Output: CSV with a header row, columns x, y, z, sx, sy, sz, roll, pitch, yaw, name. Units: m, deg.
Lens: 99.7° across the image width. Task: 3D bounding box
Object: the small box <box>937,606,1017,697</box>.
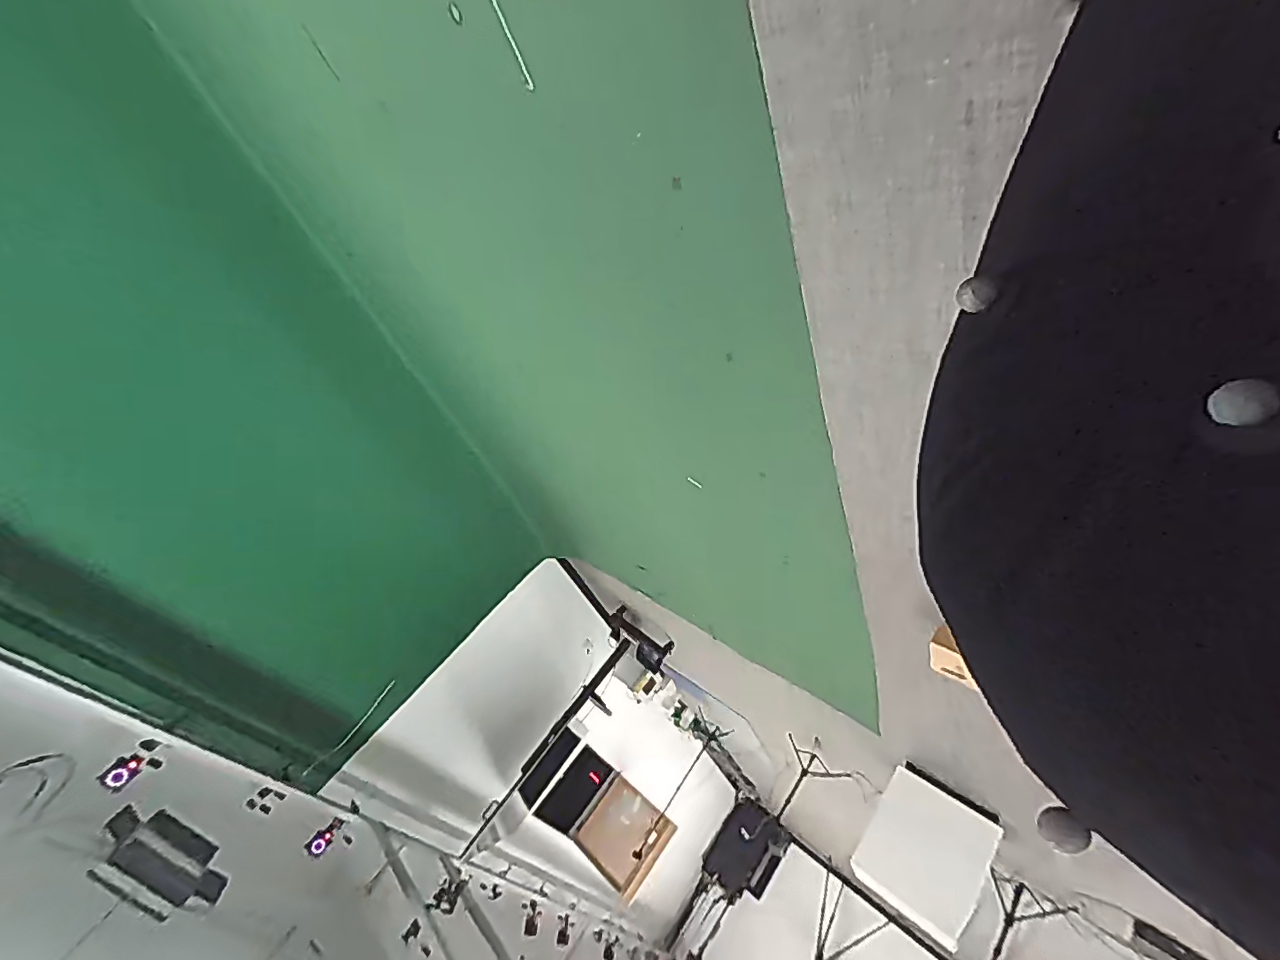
x,y,z,sx,sy,sz,roll,pitch,yaw,name
1.037,0.523,1.665,0.168,0.176,0.179,21,147,44,small box
